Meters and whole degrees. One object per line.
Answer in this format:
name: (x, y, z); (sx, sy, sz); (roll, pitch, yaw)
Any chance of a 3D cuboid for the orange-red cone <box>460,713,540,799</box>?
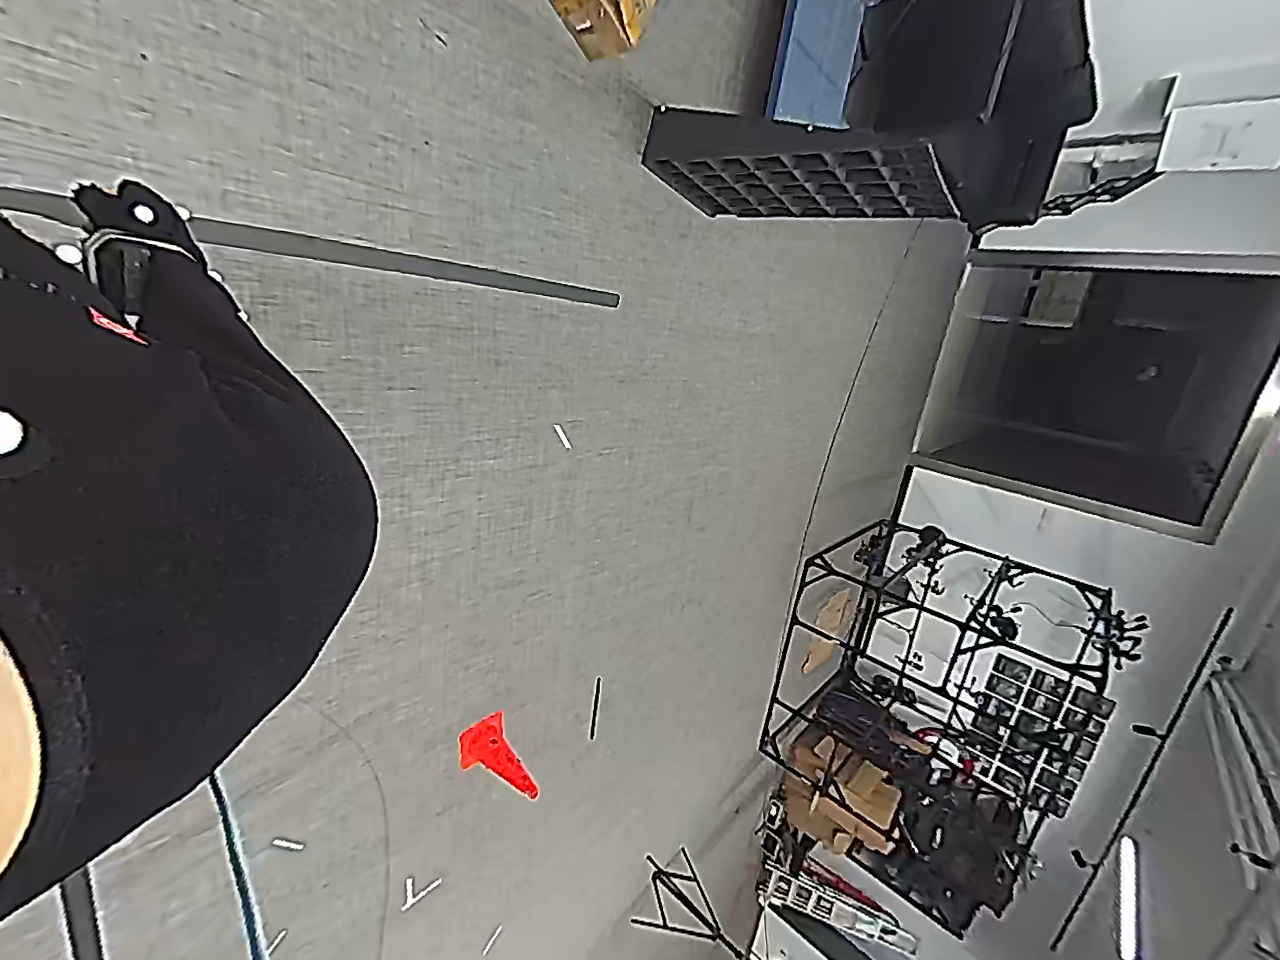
orange-red cone: (-0.515, 1.114, 2.100); (0.198, 0.360, 0.199); (-17, 118, -47)
